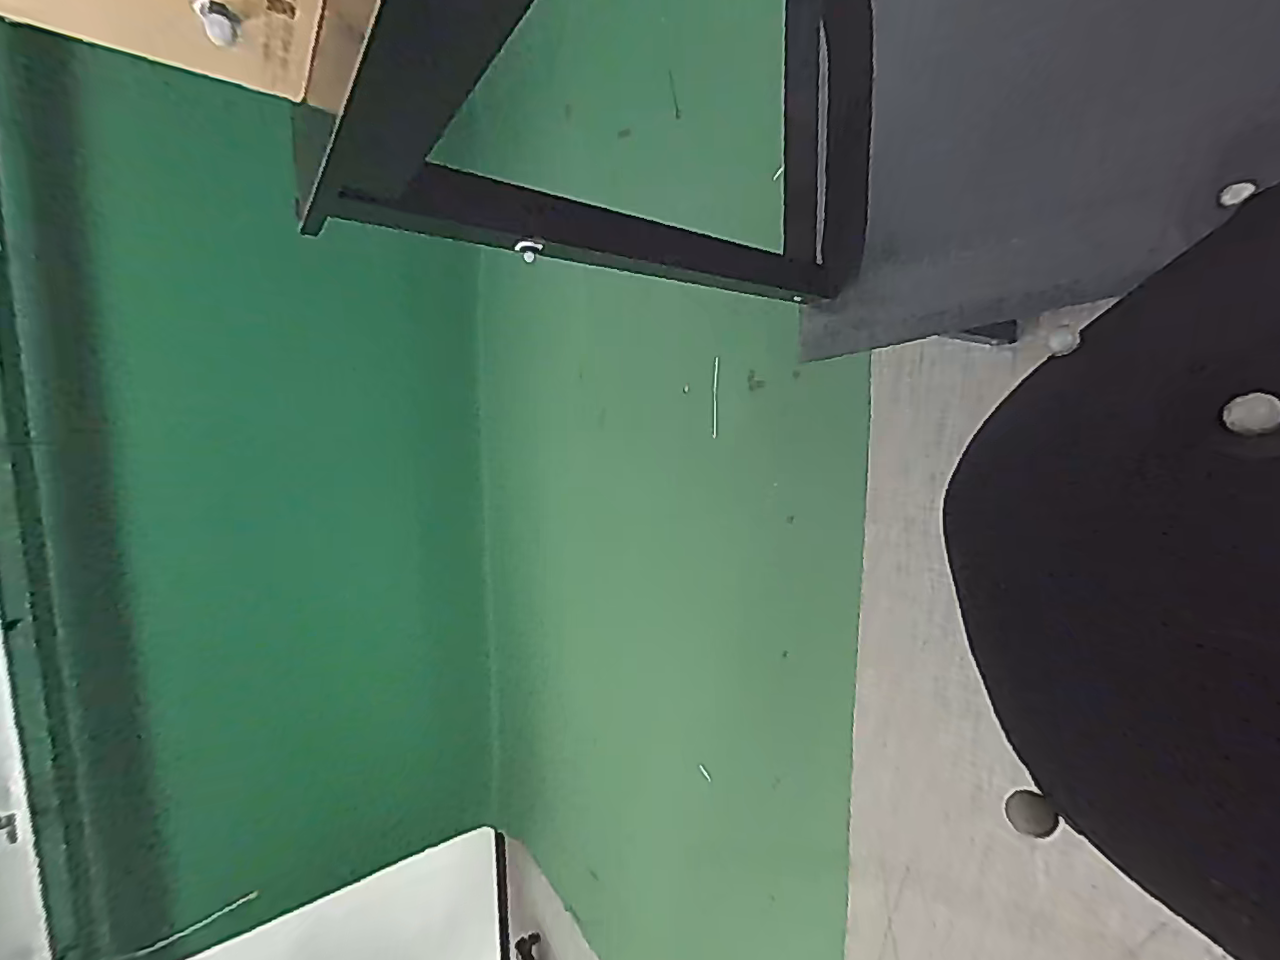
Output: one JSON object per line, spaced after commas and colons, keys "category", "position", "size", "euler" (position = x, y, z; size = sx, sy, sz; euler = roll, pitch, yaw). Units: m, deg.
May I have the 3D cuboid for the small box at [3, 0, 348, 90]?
{"category": "small box", "position": [-0.267, -0.369, 0.300], "size": [0.168, 0.176, 0.179], "euler": [6, 100, 54]}
